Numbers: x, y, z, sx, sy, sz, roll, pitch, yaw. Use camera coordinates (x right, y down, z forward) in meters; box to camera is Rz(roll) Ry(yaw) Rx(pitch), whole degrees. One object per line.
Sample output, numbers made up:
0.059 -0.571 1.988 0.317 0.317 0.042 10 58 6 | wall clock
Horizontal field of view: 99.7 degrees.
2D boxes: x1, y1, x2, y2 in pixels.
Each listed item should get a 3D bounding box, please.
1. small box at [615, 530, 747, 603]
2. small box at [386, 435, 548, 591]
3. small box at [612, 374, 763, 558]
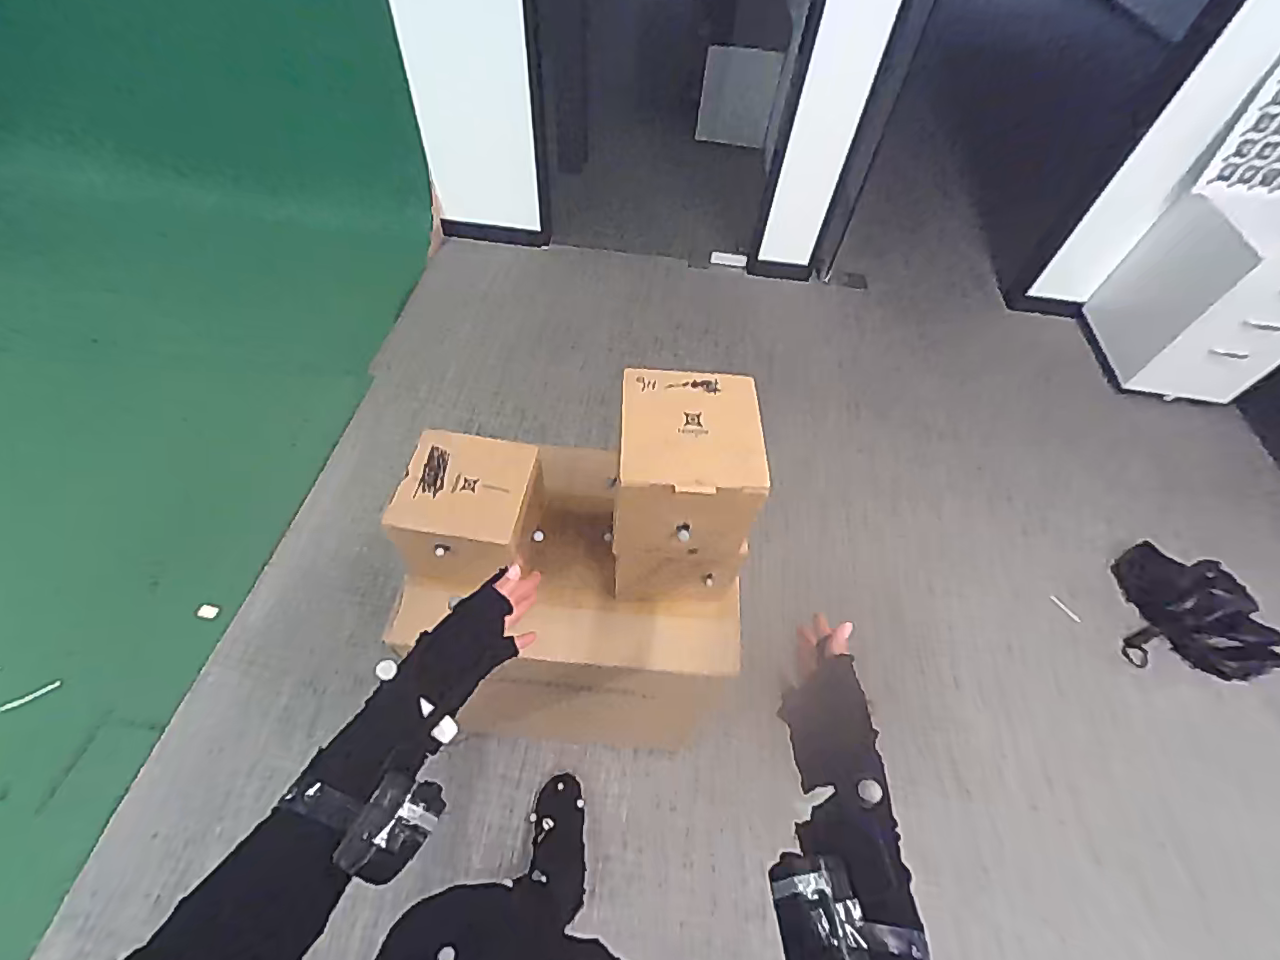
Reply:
0.051 0.081 0.832 0.179 0.176 0.168 -2 55 -4 | small box
-0.248 0.056 0.826 0.179 0.176 0.168 9 56 1 | small box
0.051 -0.012 0.697 0.168 0.176 0.179 3 56 -3 | small box
